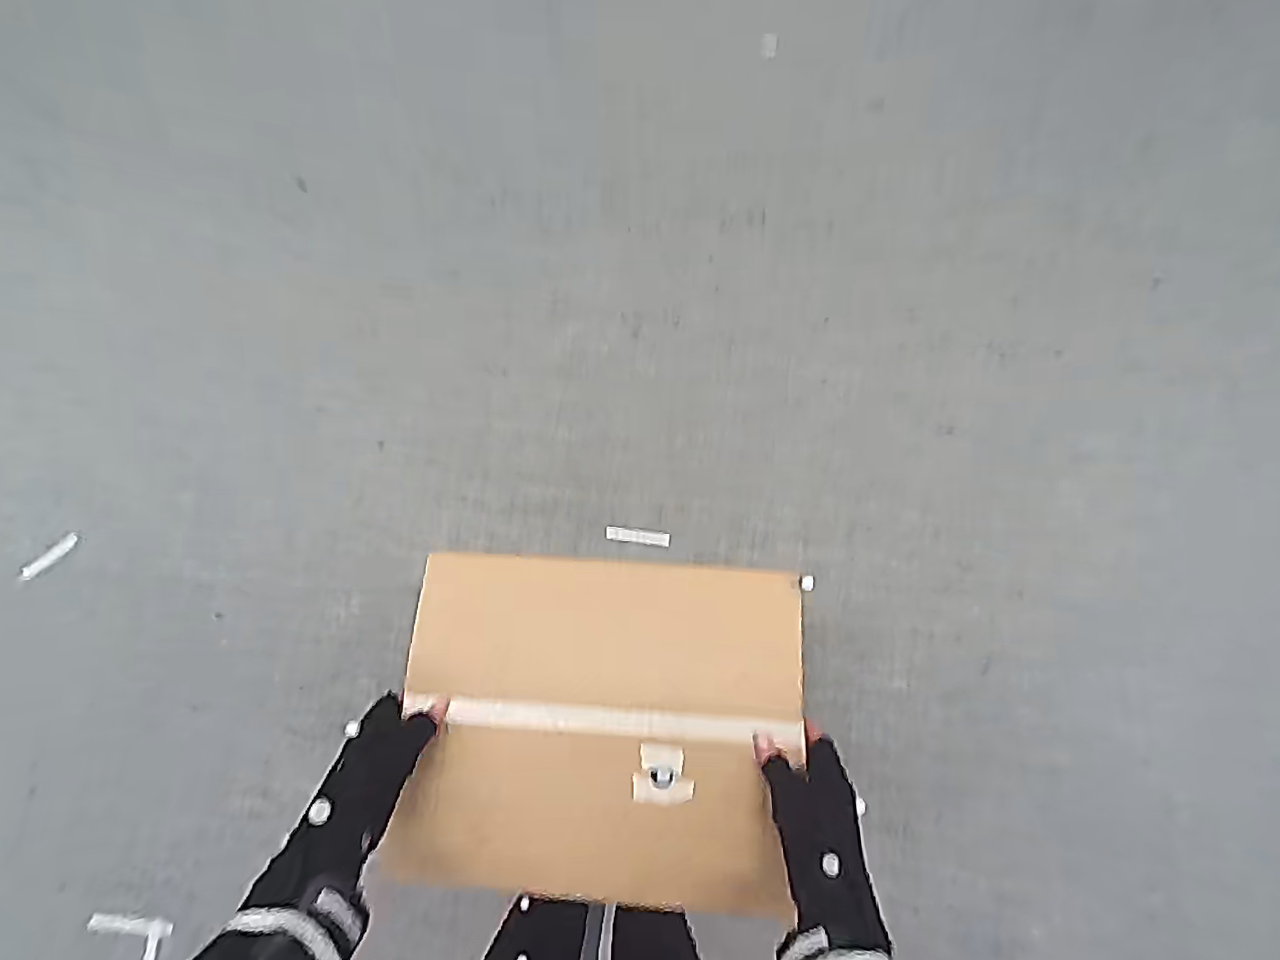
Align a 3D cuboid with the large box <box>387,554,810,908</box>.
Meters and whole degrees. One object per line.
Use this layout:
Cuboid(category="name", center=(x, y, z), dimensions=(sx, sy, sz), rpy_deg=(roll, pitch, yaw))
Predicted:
Cuboid(category="large box", center=(-0.032, 0.277, 0.683), dimensions=(0.408, 0.320, 0.320), rpy_deg=(3, 75, 3))
